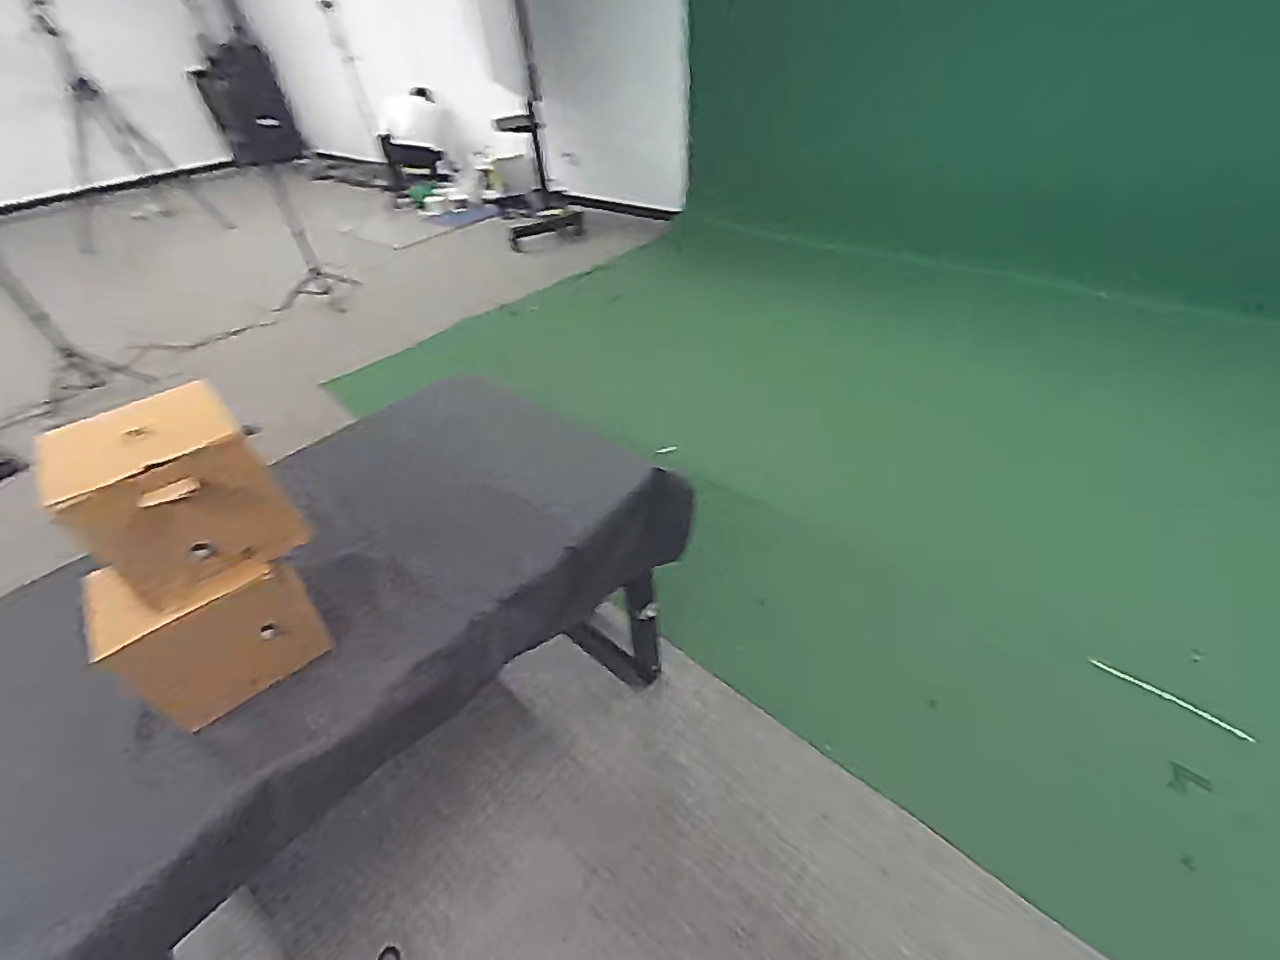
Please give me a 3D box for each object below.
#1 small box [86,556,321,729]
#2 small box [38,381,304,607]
[{"bbox_3d":[-0.545,0.174,0.697,0.179,0.176,0.168,-34,47,-27],"label":"small box"},{"bbox_3d":[-0.537,0.013,0.633,0.168,0.176,0.179,-34,48,-30],"label":"small box"}]
